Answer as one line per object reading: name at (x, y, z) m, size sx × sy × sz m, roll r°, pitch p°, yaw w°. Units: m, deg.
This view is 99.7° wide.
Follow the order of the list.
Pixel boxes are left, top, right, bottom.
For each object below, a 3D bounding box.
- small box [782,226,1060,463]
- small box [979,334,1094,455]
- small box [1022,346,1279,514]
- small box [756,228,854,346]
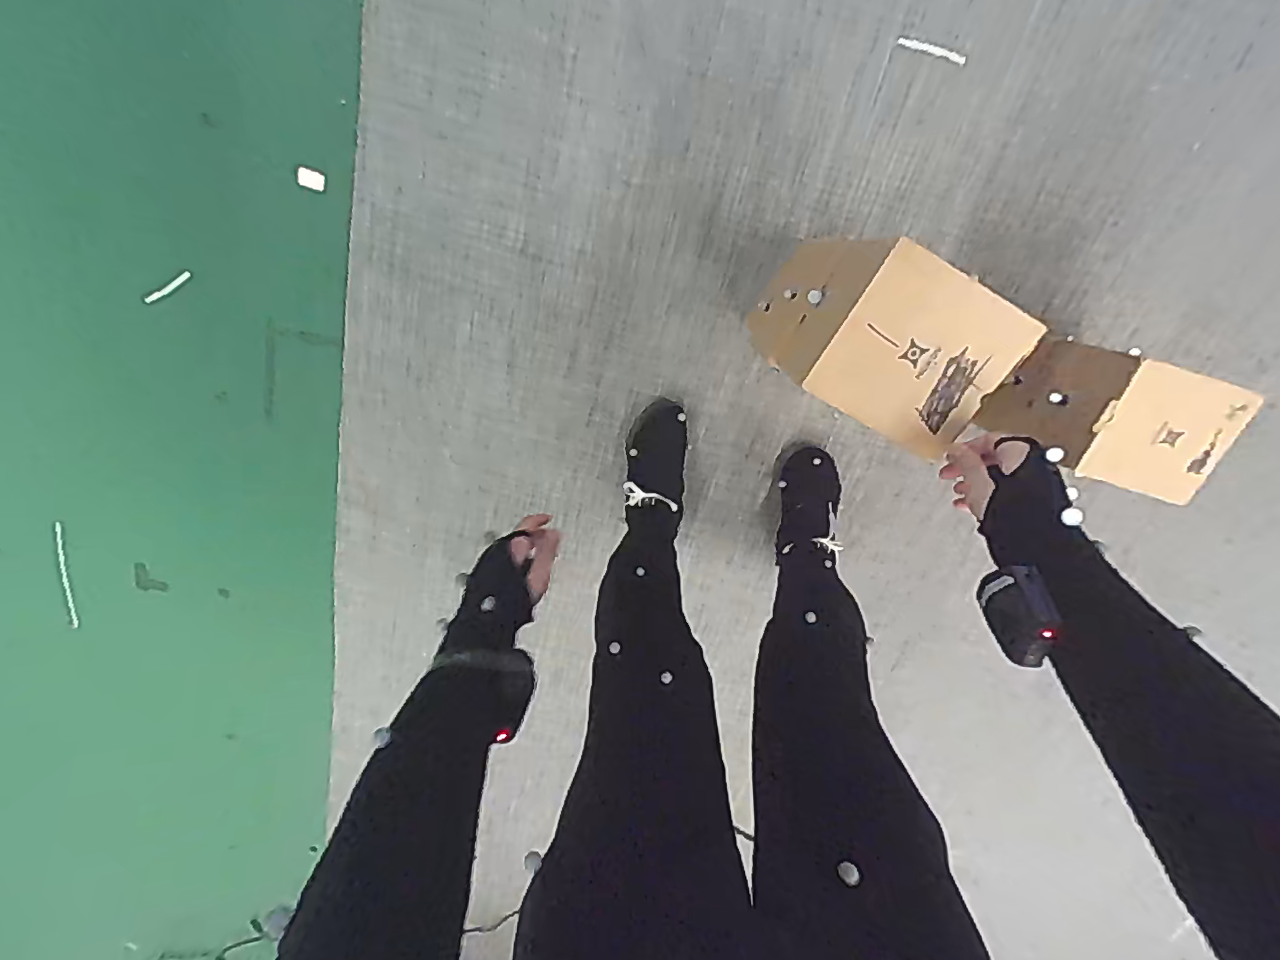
small box at (0.281, -0.152, 0.588) m, size 0.179 × 0.176 × 0.168 m, roll 30°, pitch 112°, yaw -7°
small box at (0.705, -0.144, 0.916) m, size 0.168 × 0.176 × 0.179 m, roll 17°, pitch 113°, yaw -2°
small box at (0.698, -0.081, 0.764) m, size 0.179 × 0.176 × 0.168 m, roll 19°, pitch 114°, yaw -1°
small box at (0.306, -0.283, 0.887) m, size 0.168 × 0.176 × 0.179 m, roll 35°, pitch 111°, yaw -10°
